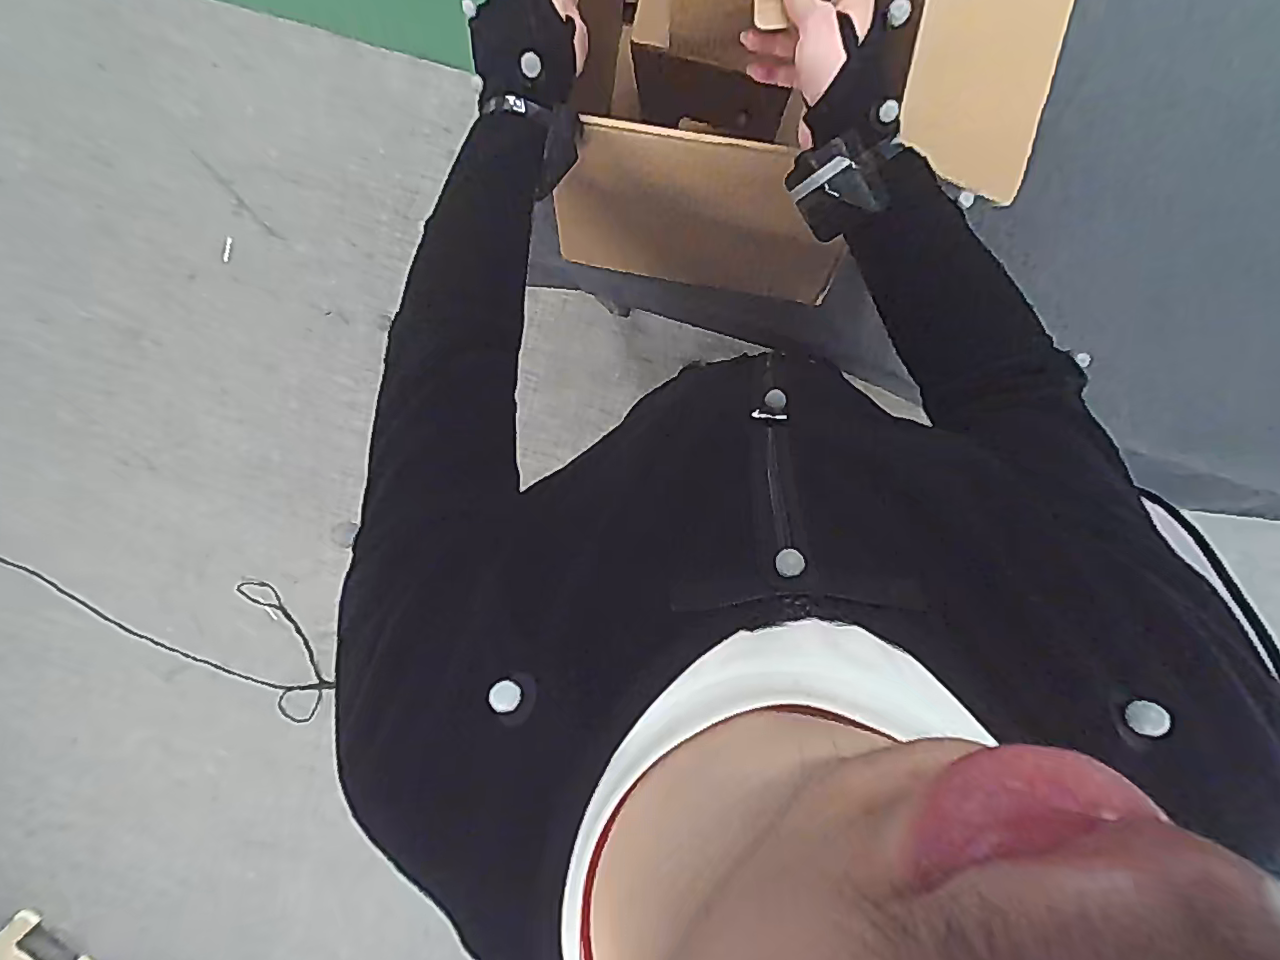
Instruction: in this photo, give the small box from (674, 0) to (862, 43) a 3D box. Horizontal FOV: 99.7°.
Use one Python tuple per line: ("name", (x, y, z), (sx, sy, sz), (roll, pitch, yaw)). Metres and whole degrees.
("small box", (0.109, -0.477, 0.425), (0.168, 0.176, 0.179), (-2, 112, 4))
